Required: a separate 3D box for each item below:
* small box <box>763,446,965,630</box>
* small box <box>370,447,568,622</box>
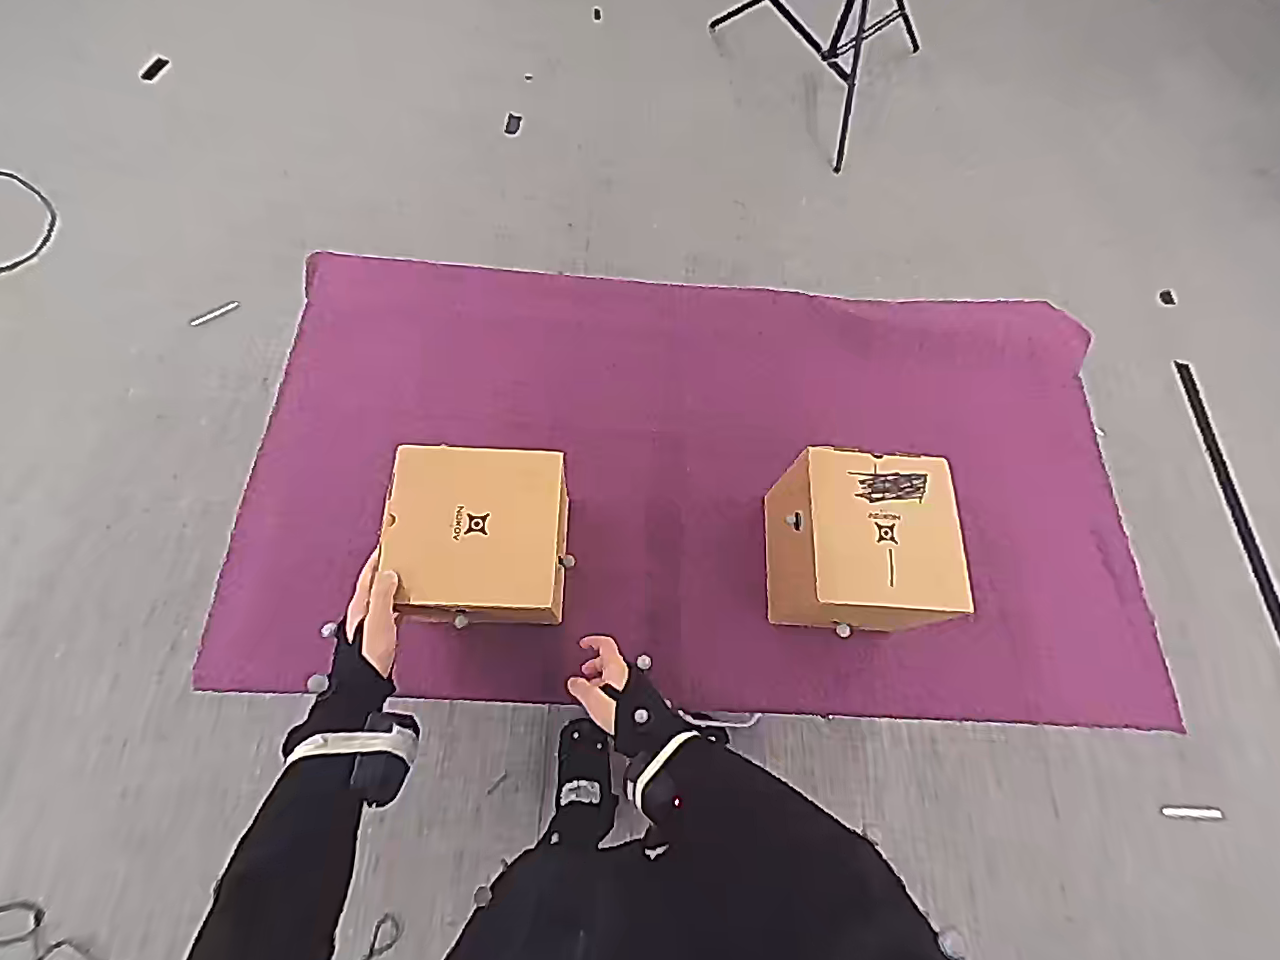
[{"bbox_3d":[0.252,0.078,0.657,0.168,0.176,0.179,4,68,-3],"label":"small box"},{"bbox_3d":[-0.178,0.071,0.624,0.179,0.176,0.168,2,71,-3],"label":"small box"}]
